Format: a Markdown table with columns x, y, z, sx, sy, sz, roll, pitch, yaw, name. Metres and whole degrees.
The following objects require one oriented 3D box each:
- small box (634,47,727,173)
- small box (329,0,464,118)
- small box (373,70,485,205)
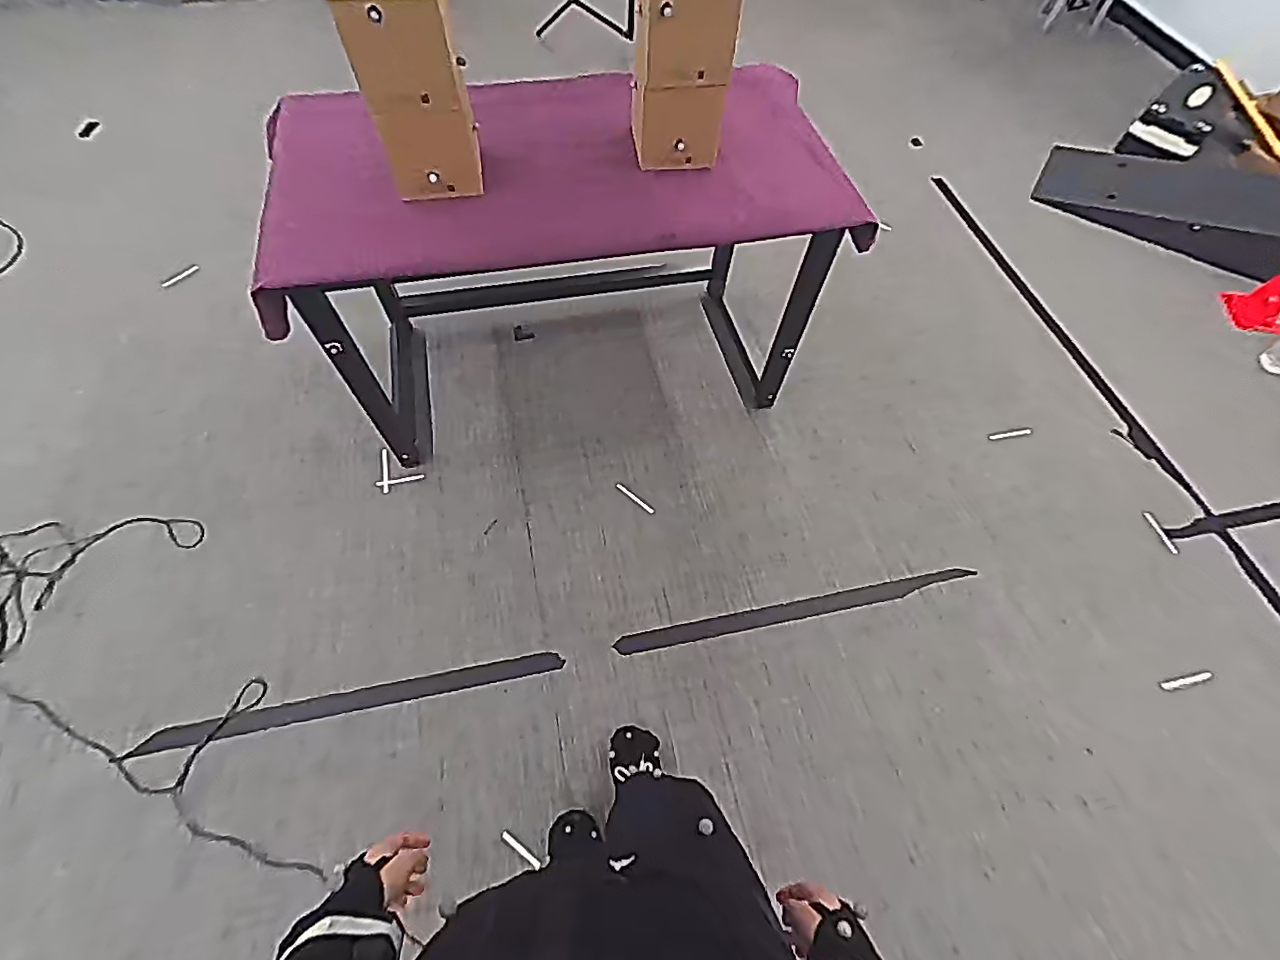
| x | y | z | sx | sy | sz | roll | pitch | yaw | name |
| --- | --- | --- | --- | --- | --- | --- | --- | --- | --- |
| 0.077 | -0.789 | 1.157 | 0.168 | 0.176 | 0.179 | -5 | 62 | -5 | small box |
| -0.406 | -0.758 | 0.931 | 0.168 | 0.176 | 0.179 | -8 | 61 | -7 | small box |
| -0.411 | -0.679 | 1.075 | 0.168 | 0.176 | 0.179 | -9 | 63 | -7 | small box |
